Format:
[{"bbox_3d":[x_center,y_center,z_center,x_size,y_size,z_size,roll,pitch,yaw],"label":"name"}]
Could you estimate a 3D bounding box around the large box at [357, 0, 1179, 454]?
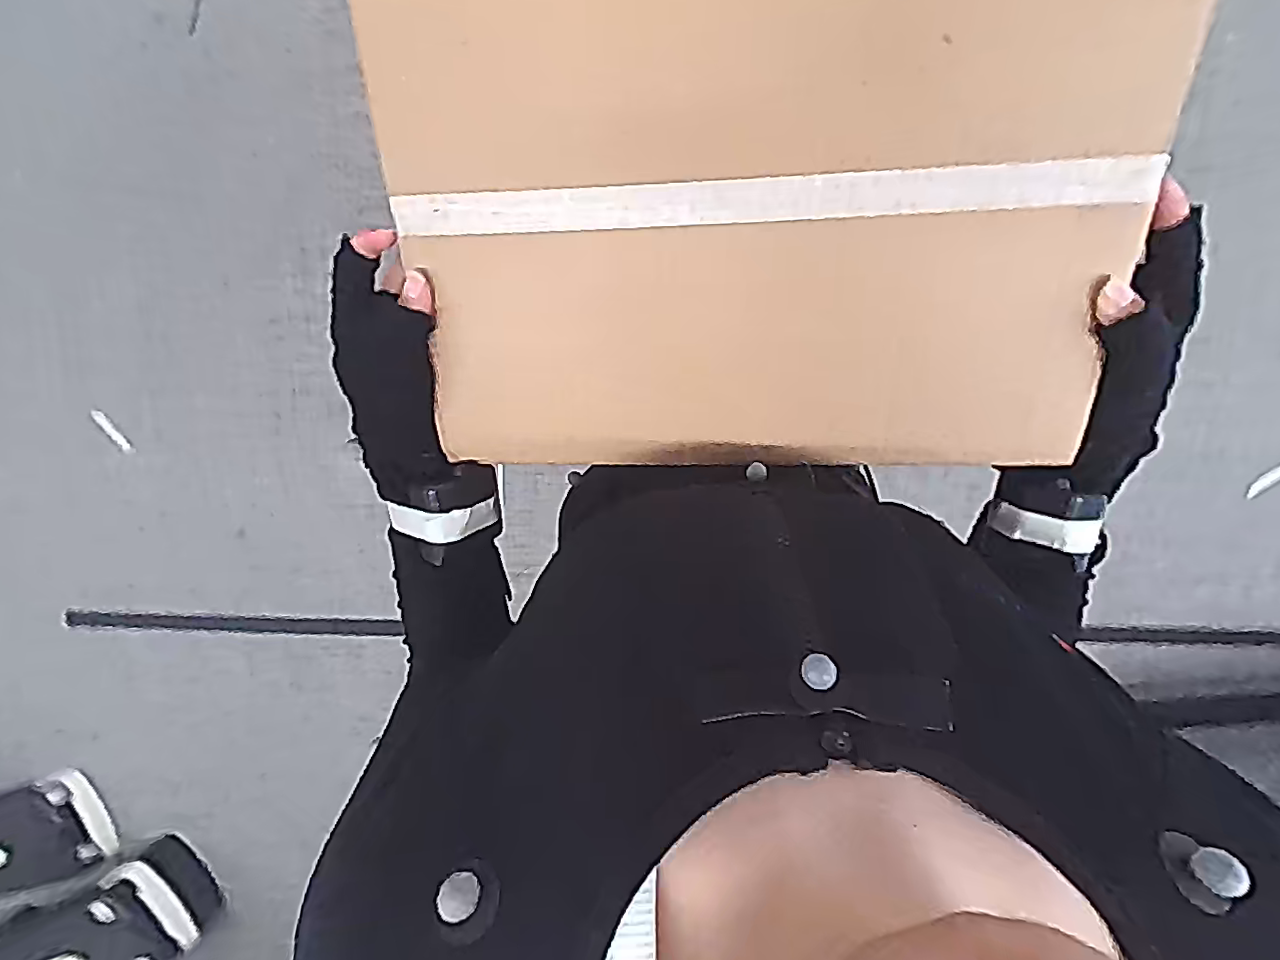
[{"bbox_3d":[0.070,-0.222,0.434,0.408,0.320,0.320,0,114,6],"label":"large box"}]
